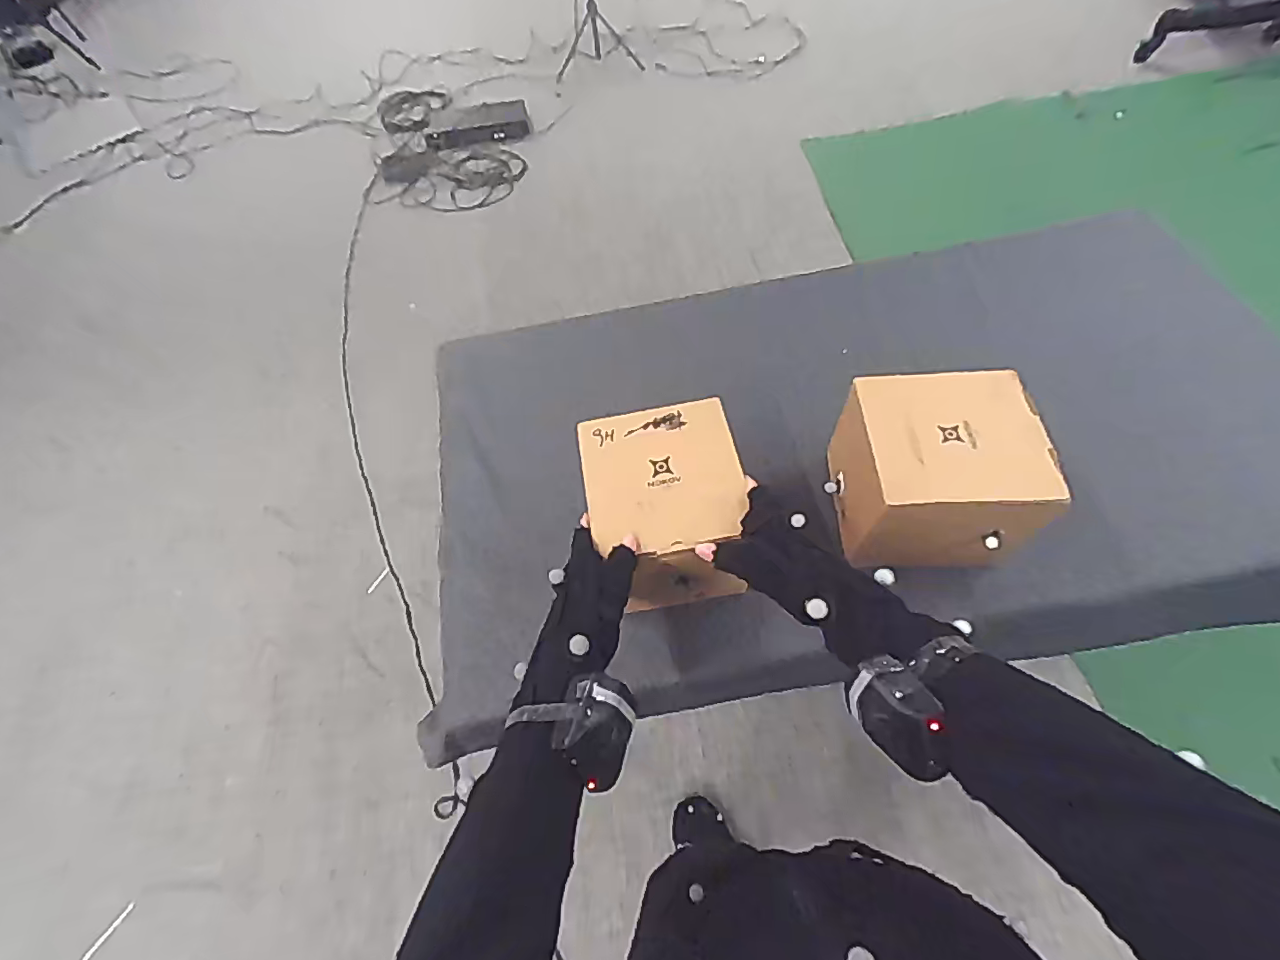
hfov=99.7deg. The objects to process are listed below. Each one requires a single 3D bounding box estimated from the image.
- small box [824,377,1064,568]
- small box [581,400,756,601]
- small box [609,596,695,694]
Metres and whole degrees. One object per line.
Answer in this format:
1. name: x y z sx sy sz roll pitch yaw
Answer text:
1. small box: 0.334 -0.002 0.637 0.179 0.176 0.168 -2 60 5
2. small box: 0.031 0.035 0.641 0.168 0.176 0.179 -10 60 -1
3. small box: 0.032 0.396 1.278 0.168 0.176 0.179 -13 60 -3
